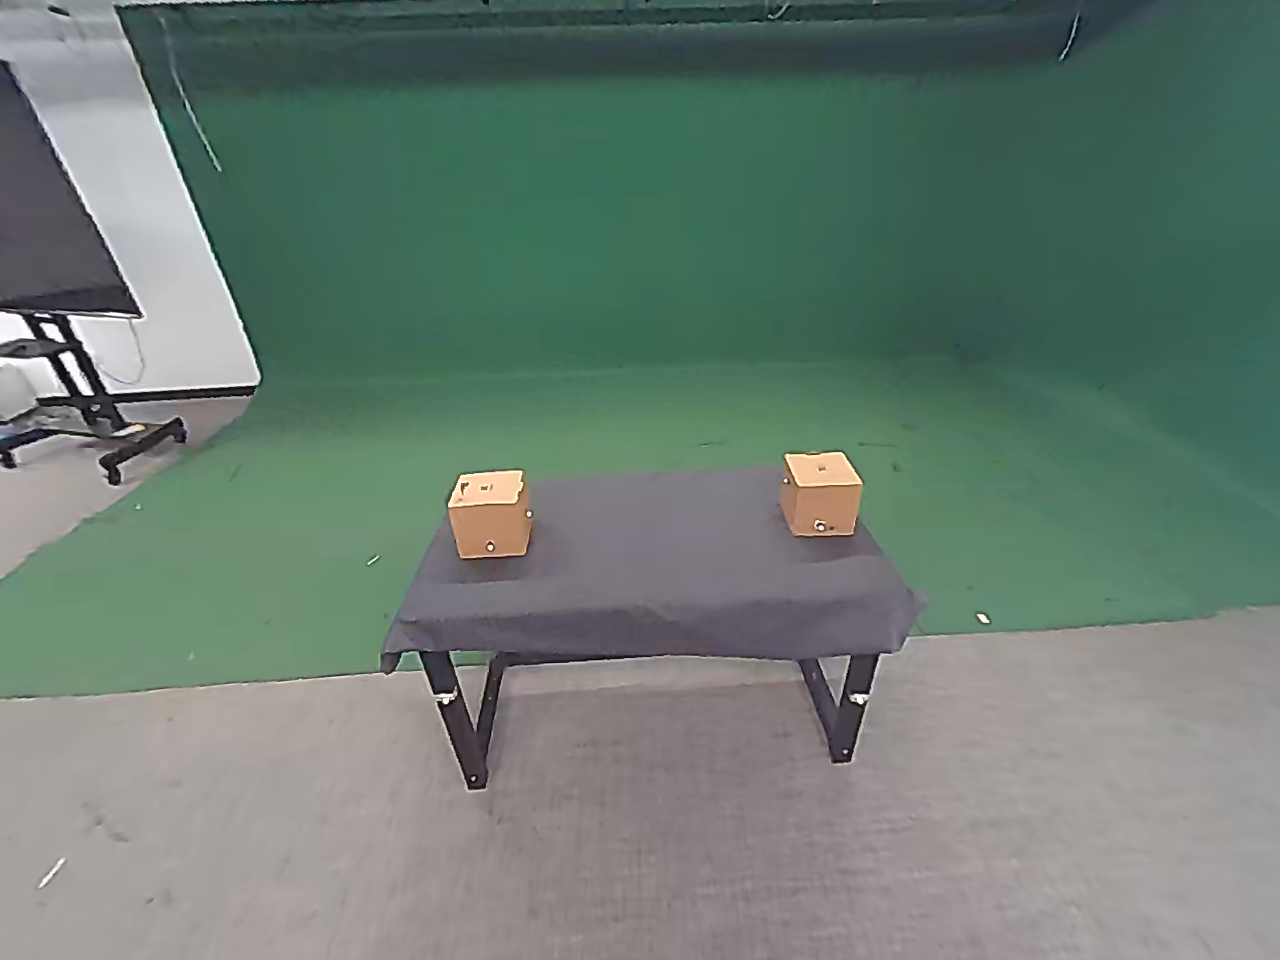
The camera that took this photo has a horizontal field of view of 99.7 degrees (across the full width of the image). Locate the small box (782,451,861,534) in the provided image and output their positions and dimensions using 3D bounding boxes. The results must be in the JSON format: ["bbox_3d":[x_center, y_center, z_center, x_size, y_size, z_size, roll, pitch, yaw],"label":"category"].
[{"bbox_3d":[0.491,0.033,1.488,0.168,0.176,0.179,-2,31,5],"label":"small box"}]

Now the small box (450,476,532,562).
[{"bbox_3d":[-0.394,0.106,1.465,0.179,0.176,0.168,-3,31,-3],"label":"small box"}]
